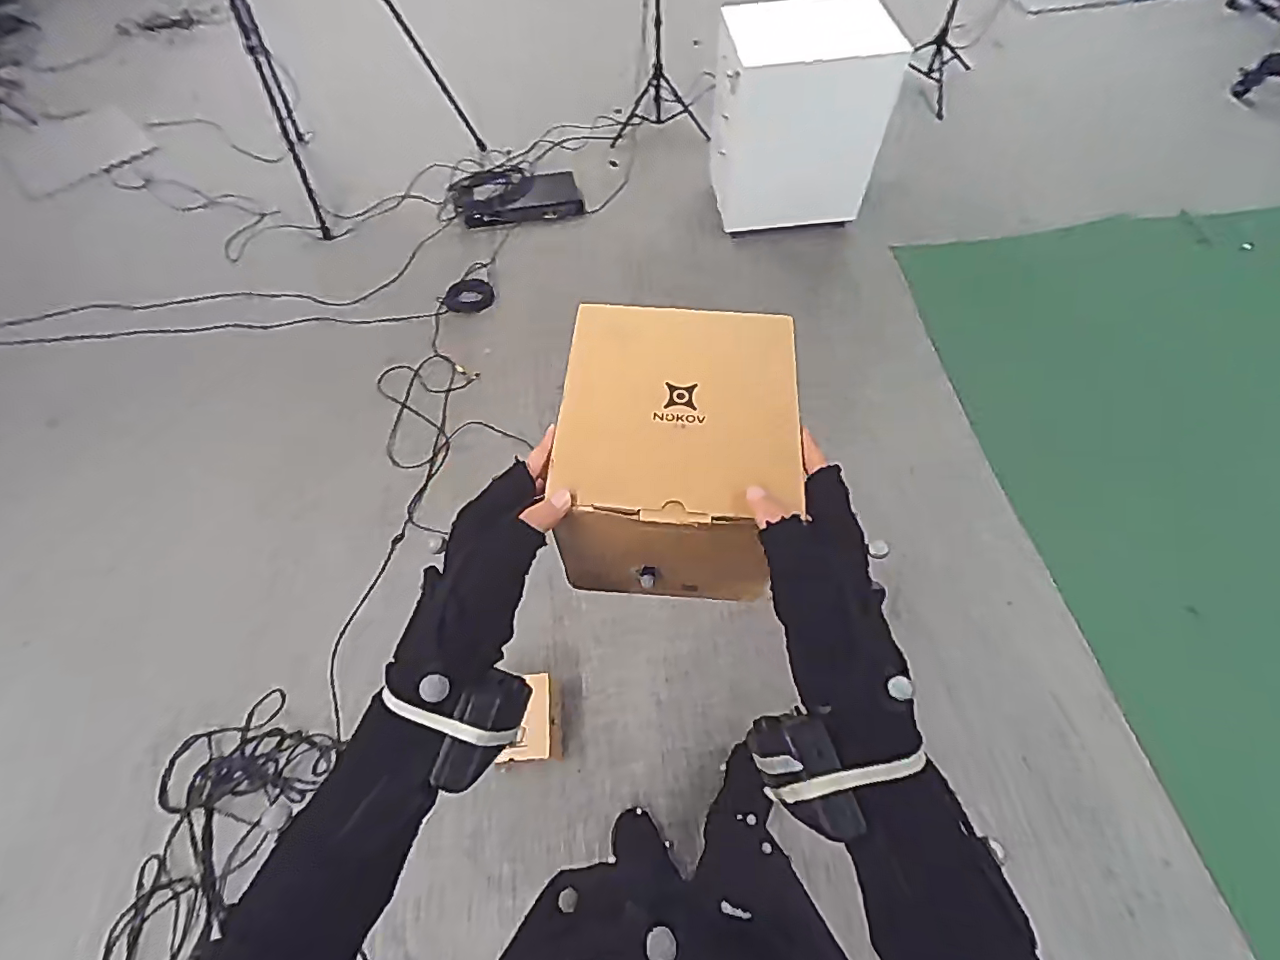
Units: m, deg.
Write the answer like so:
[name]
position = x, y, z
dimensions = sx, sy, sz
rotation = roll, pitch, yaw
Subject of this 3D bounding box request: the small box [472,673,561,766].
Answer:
[small box]
position = -0.278, 0.557, 1.251
dimensions = 0.168, 0.176, 0.179
rotation = -6, 61, -1
